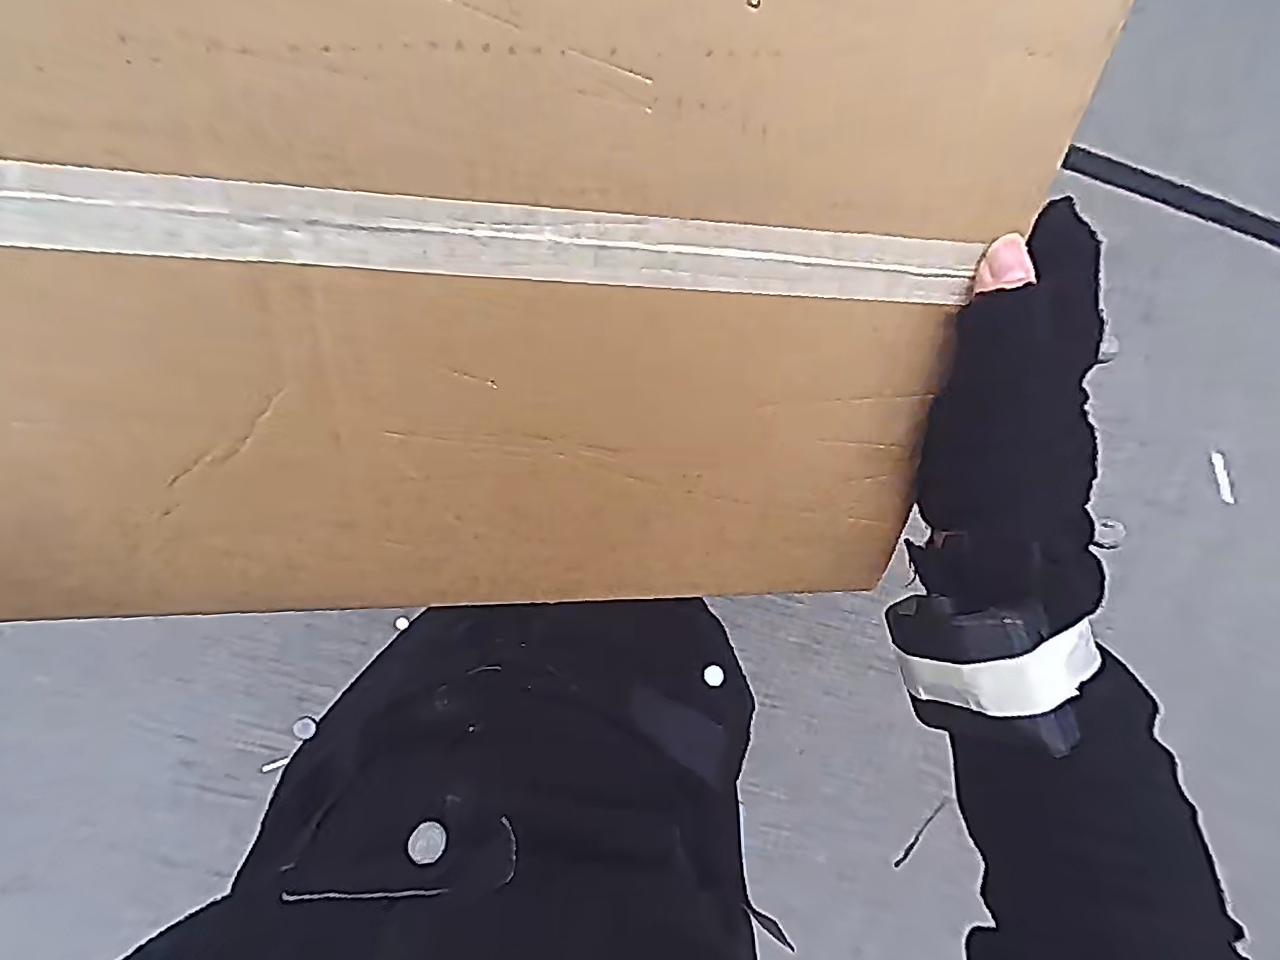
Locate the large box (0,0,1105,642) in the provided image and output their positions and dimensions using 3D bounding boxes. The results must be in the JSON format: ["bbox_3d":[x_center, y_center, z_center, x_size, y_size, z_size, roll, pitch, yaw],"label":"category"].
[{"bbox_3d":[-0.089,-0.144,0.299,0.408,0.320,0.320,0,122,-10],"label":"large box"}]
